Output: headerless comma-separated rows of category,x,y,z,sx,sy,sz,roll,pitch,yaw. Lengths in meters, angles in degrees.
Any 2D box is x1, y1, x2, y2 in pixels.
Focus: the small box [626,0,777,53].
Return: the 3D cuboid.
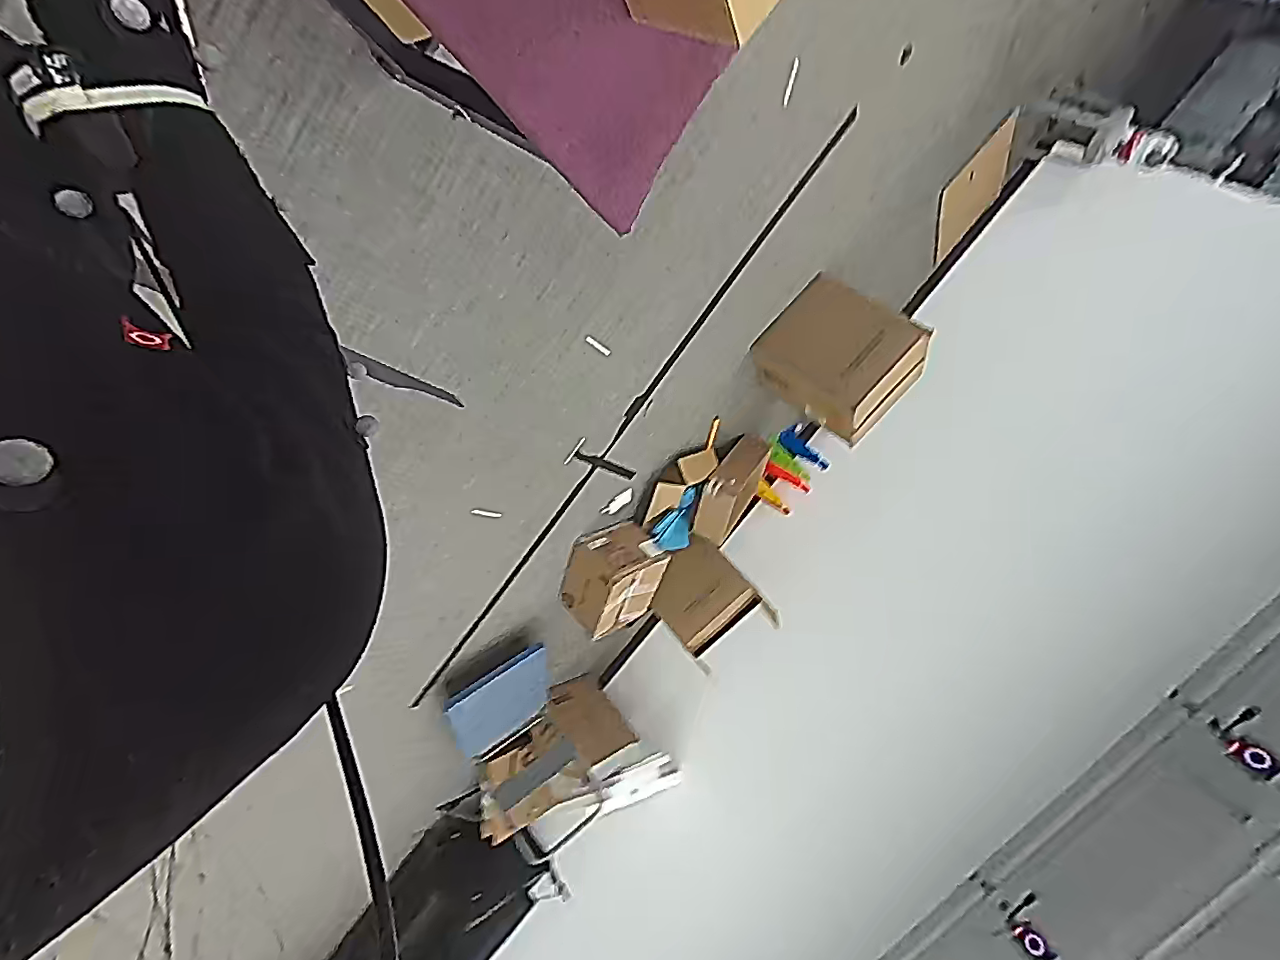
small box,0.061,-0.563,0.505,0.168,0.176,0.179,-50,151,4
